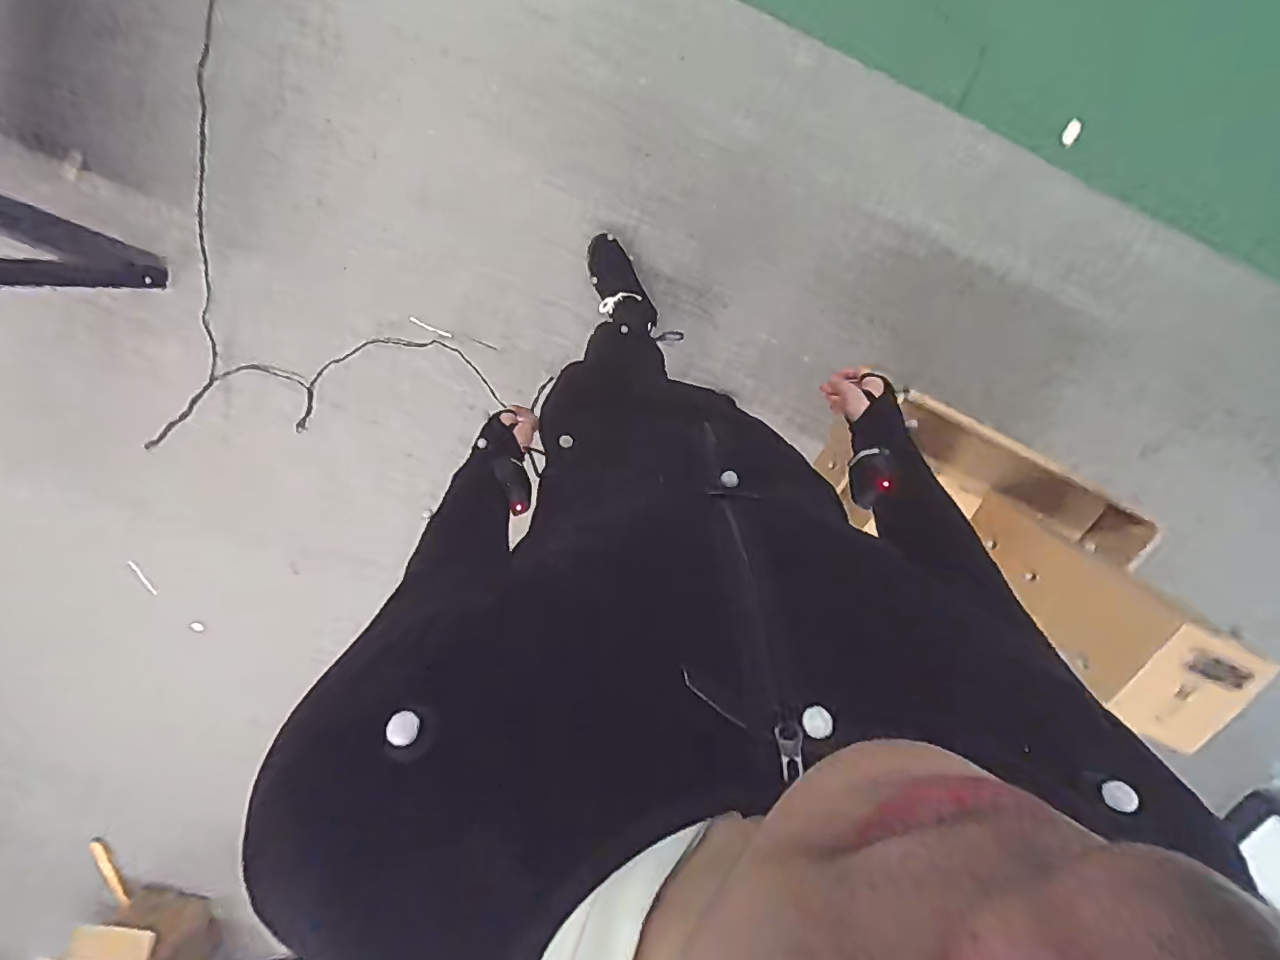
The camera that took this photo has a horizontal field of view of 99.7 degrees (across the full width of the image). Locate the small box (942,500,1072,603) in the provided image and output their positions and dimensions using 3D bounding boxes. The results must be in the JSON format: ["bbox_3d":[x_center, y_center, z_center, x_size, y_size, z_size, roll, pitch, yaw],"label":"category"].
[{"bbox_3d":[0.779,0.172,1.145,0.168,0.176,0.179,26,108,-6],"label":"small box"}]

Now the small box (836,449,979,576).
[{"bbox_3d":[0.535,0.058,1.112,0.168,0.176,0.179,27,108,-7],"label":"small box"}]
